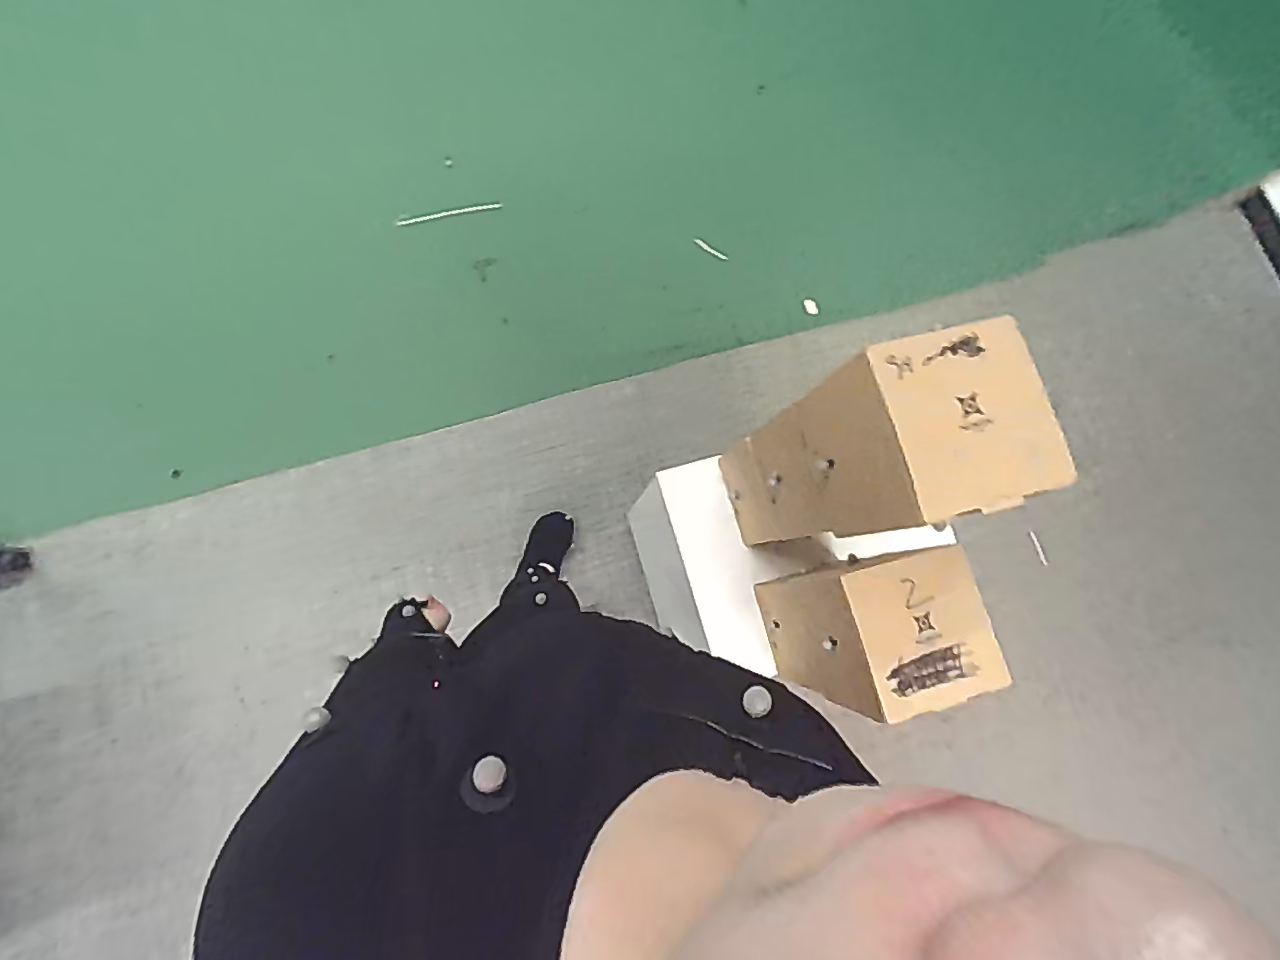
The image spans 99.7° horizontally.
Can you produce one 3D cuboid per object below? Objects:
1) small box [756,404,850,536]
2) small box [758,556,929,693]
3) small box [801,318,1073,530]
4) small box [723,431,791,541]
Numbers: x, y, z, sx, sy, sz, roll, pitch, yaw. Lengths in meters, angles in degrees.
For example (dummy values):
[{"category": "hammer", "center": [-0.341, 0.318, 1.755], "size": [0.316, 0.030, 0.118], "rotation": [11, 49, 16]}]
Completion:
[{"category": "small box", "center": [0.285, -0.024, 0.745], "size": [0.179, 0.176, 0.168], "rotation": [-13, 82, -9]}, {"category": "small box", "center": [0.315, 0.222, 0.871], "size": [0.179, 0.176, 0.168], "rotation": [-13, 80, -9]}, {"category": "small box", "center": [0.298, -0.046, 0.582], "size": [0.168, 0.176, 0.179], "rotation": [-13, 82, -9]}, {"category": "small box", "center": [0.260, 0.001, 0.905], "size": [0.179, 0.176, 0.168], "rotation": [-15, 82, -8]}]
